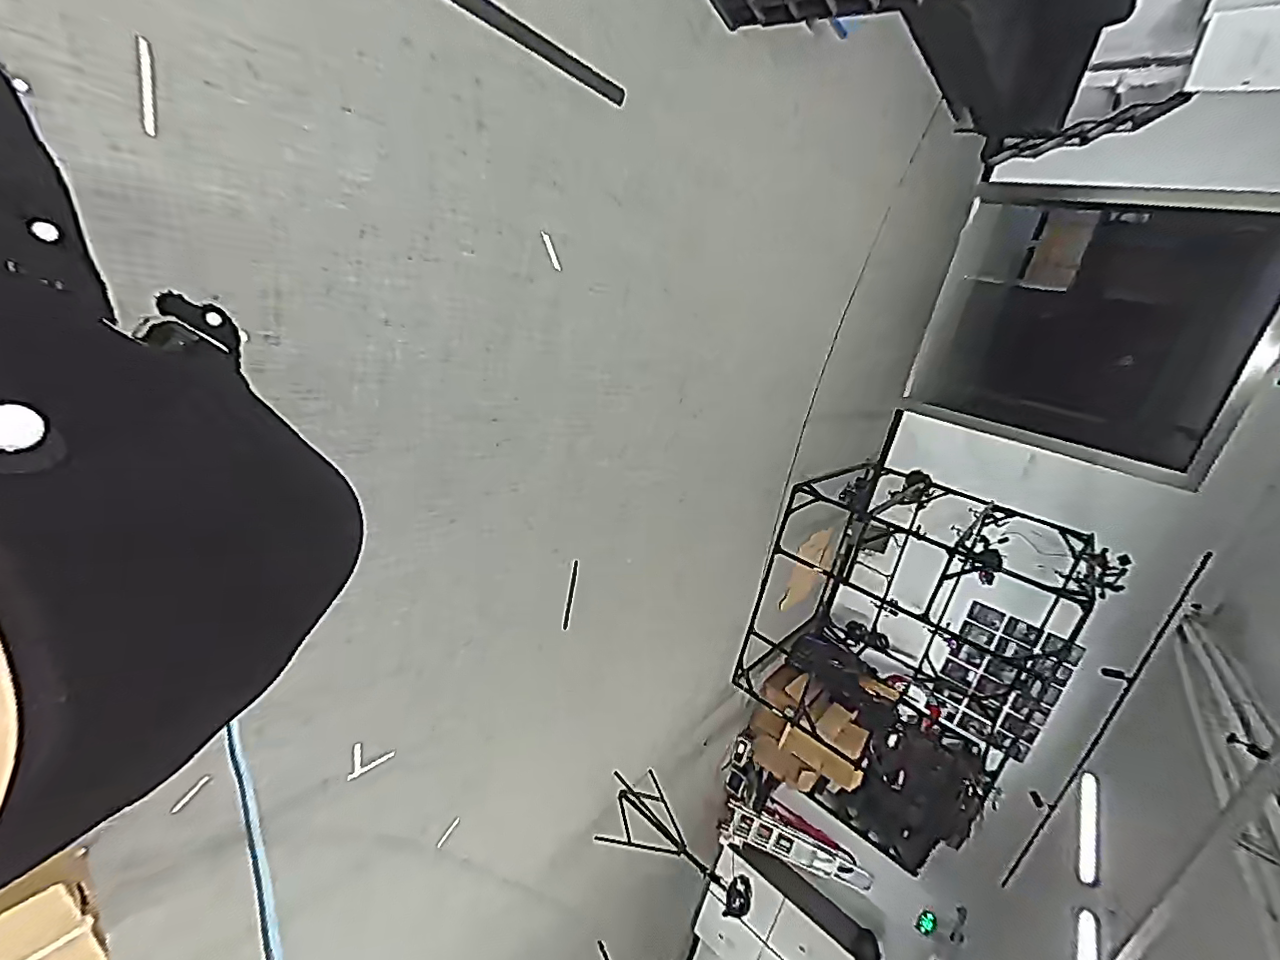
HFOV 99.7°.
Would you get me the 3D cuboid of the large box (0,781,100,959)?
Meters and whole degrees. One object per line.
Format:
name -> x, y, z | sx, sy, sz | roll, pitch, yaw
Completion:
large box -> -1.437, 0.929, 1.097 | 0.408, 0.320, 0.320 | -20, 127, -45
